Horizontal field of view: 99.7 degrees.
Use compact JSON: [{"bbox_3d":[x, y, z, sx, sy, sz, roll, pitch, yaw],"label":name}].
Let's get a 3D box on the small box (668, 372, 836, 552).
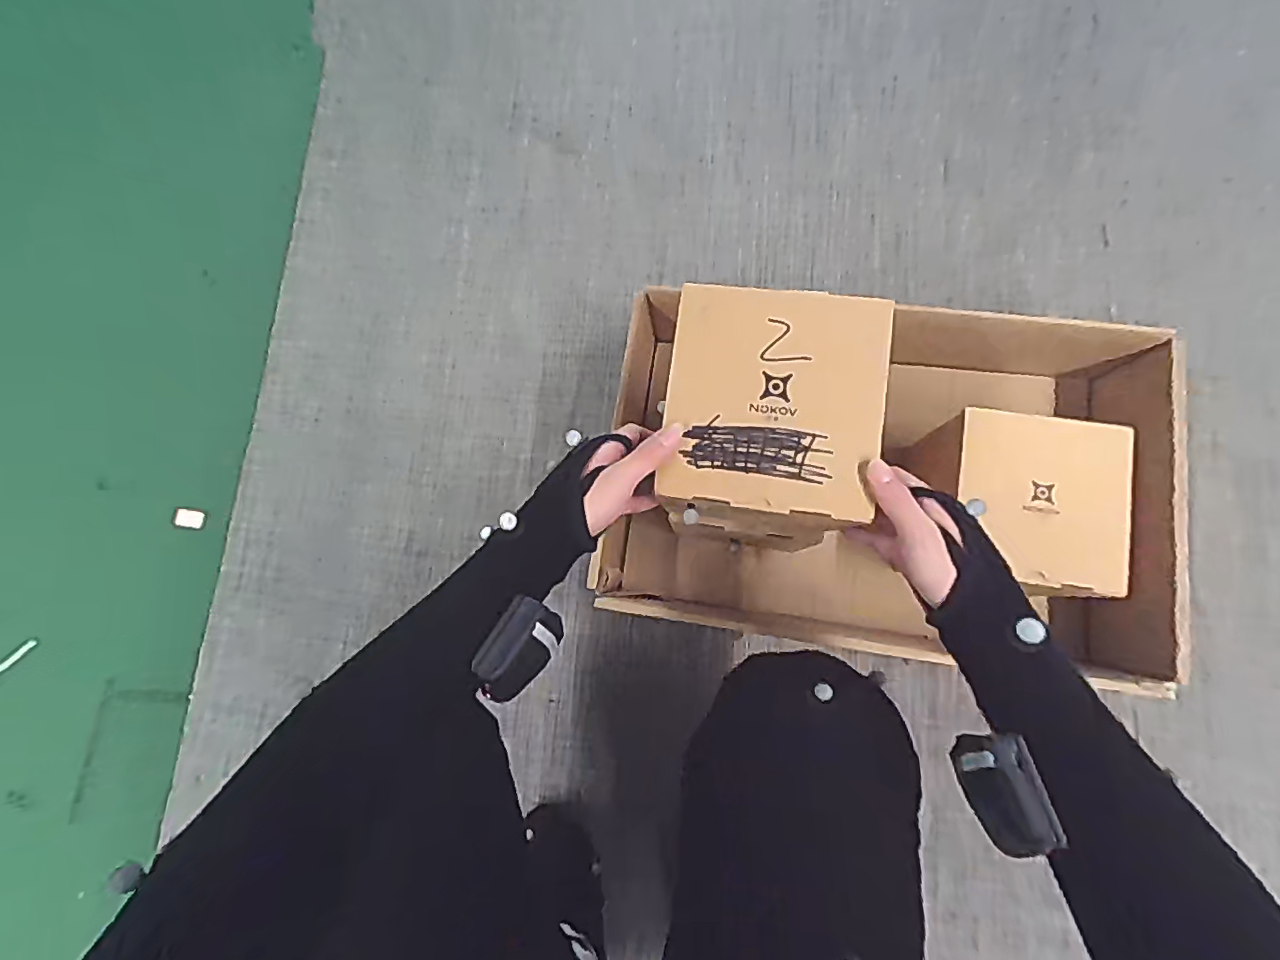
[{"bbox_3d":[0.130,-0.013,0.667,0.168,0.176,0.179,8,80,8],"label":"small box"}]
